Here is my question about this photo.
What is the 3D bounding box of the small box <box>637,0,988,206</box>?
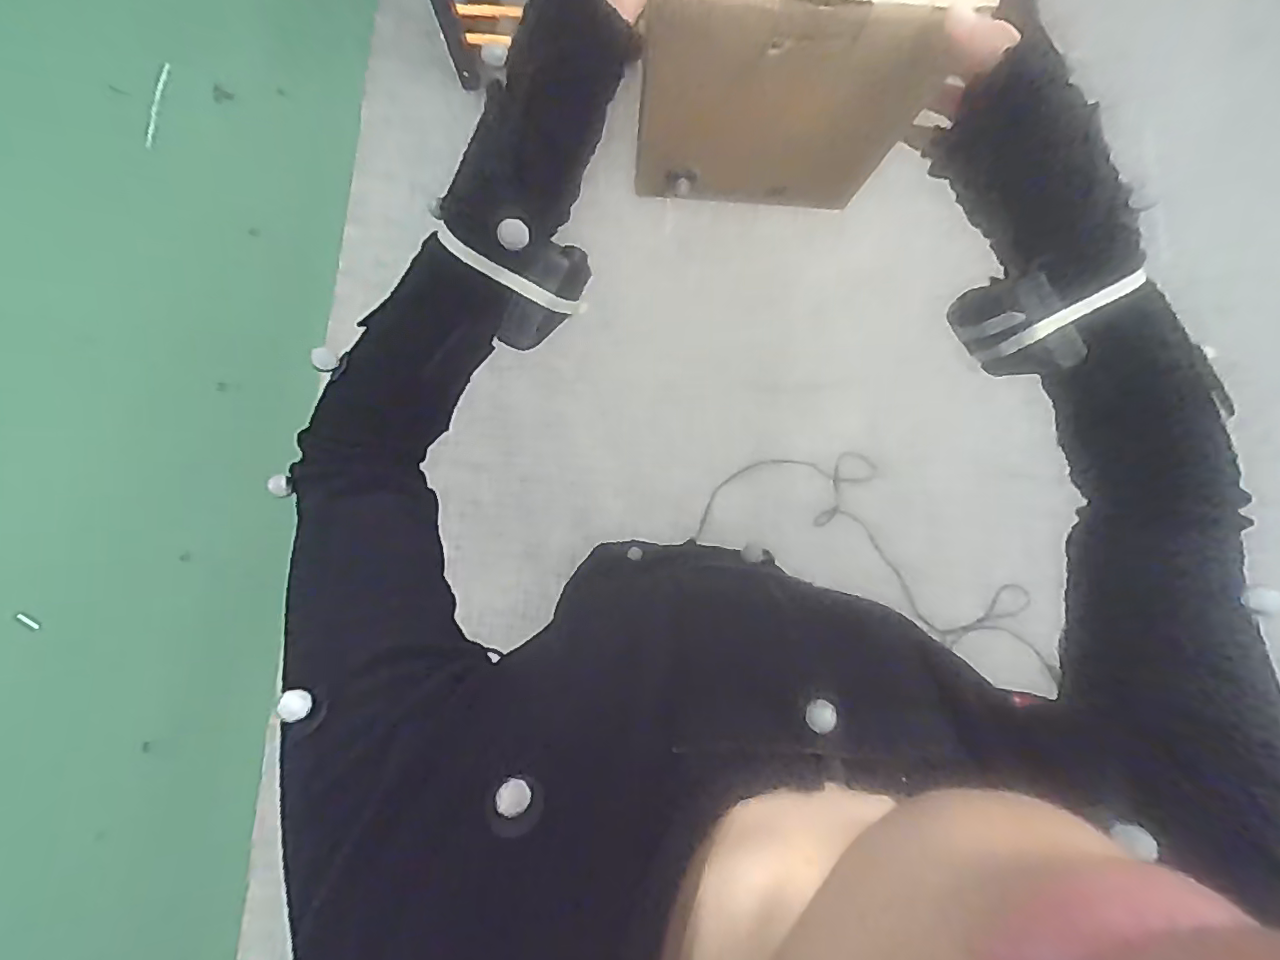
[{"bbox_3d":[0.086,-0.301,0.341,0.168,0.176,0.179,2,86,-3],"label":"small box"}]
